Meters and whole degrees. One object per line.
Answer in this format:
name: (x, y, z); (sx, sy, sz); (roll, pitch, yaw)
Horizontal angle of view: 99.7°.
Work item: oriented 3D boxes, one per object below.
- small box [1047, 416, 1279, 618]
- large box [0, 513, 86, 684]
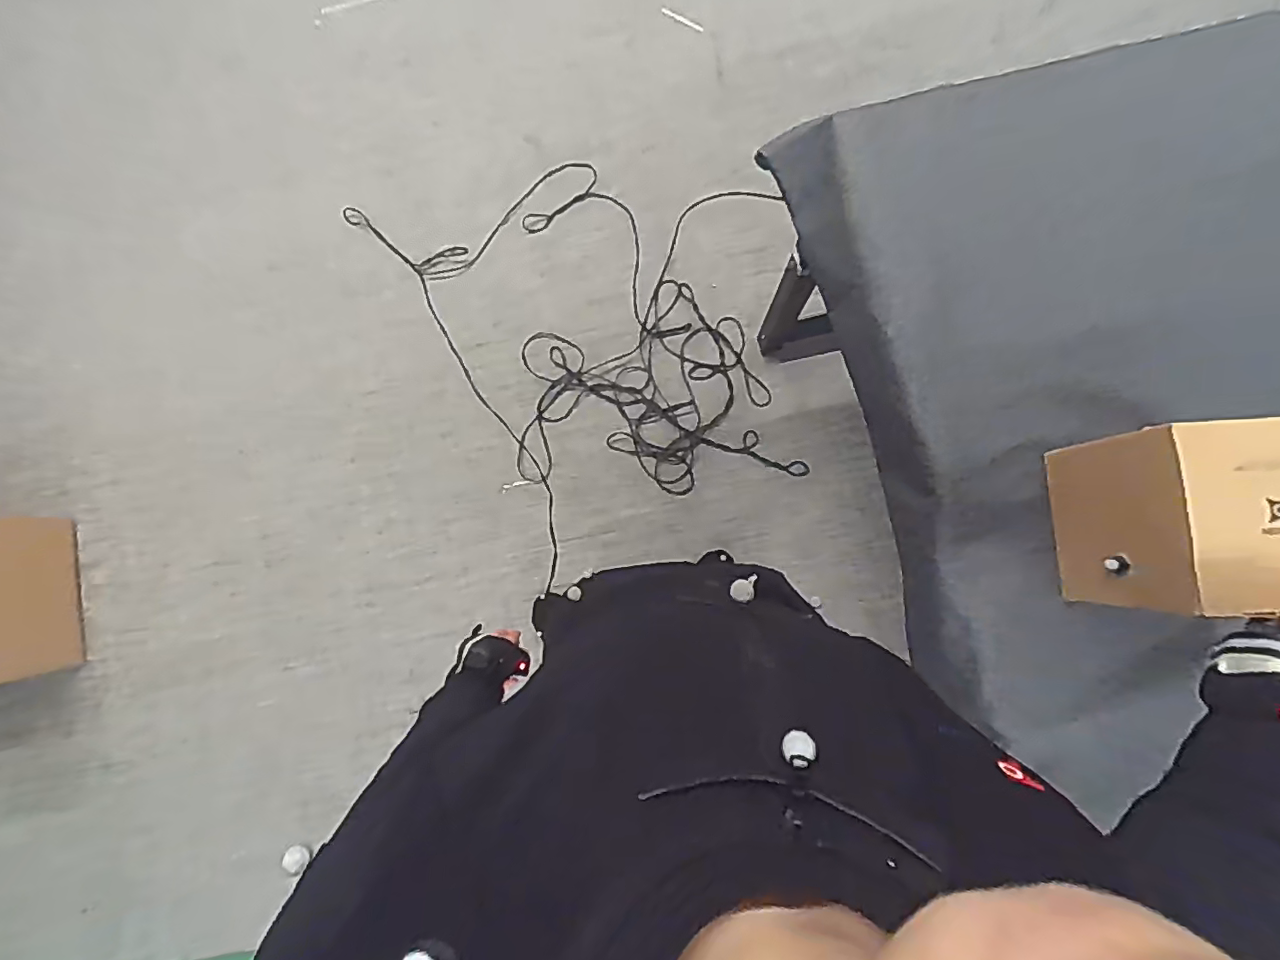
small box: (0.565, 0.038, 0.553); (0.168, 0.176, 0.179); (-4, 83, 1)
large box: (-1.660, 0.307, 1.311); (0.320, 0.320, 0.408); (-13, 82, 1)
